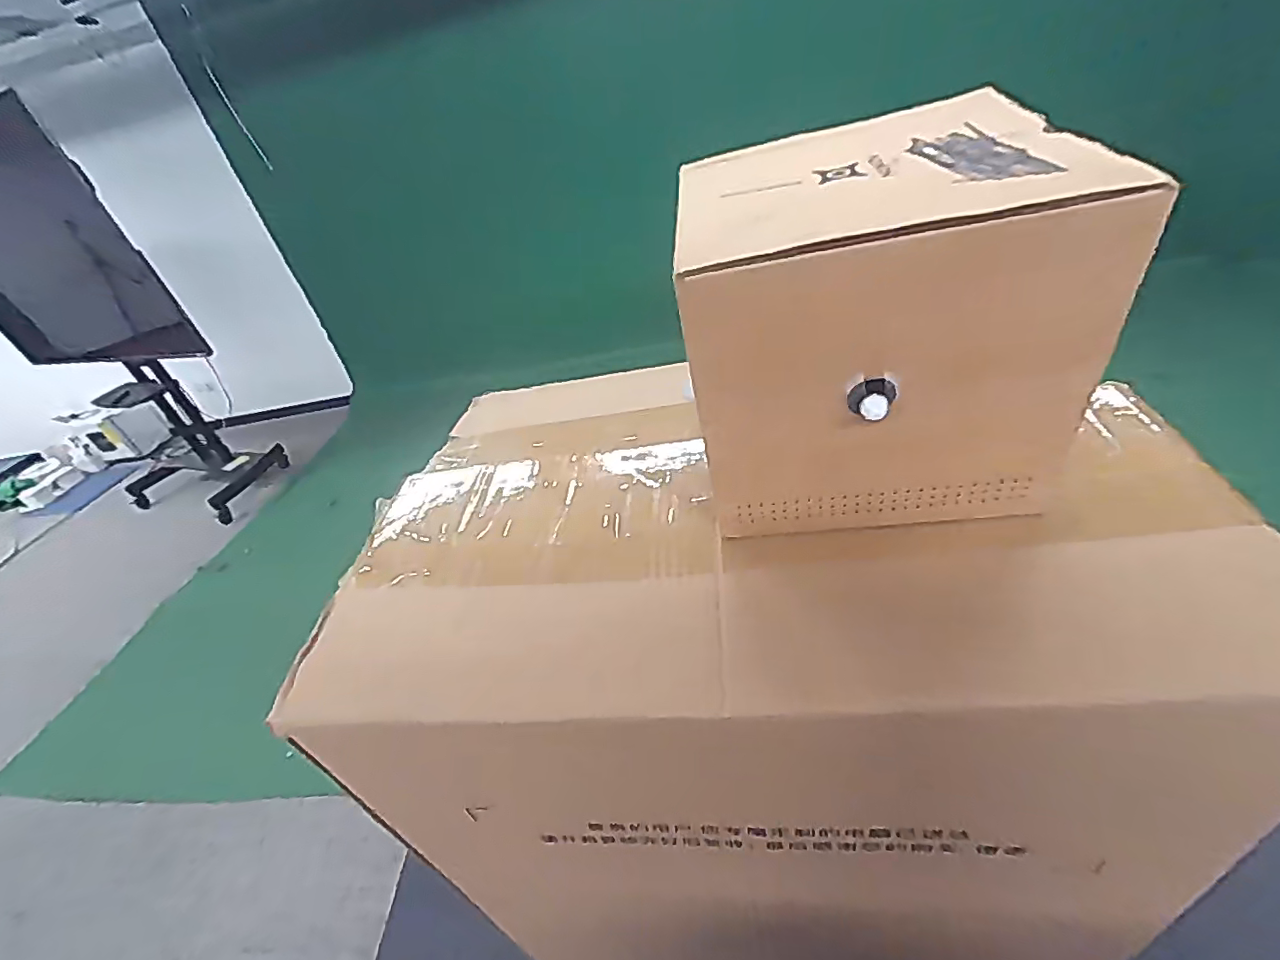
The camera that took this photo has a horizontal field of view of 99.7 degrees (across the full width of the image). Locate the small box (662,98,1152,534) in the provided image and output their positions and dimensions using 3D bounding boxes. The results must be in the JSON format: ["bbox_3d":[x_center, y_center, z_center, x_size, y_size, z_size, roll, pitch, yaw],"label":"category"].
[{"bbox_3d":[0.117,-0.086,0.312,0.179,0.176,0.168,-6,43,12],"label":"small box"}]
